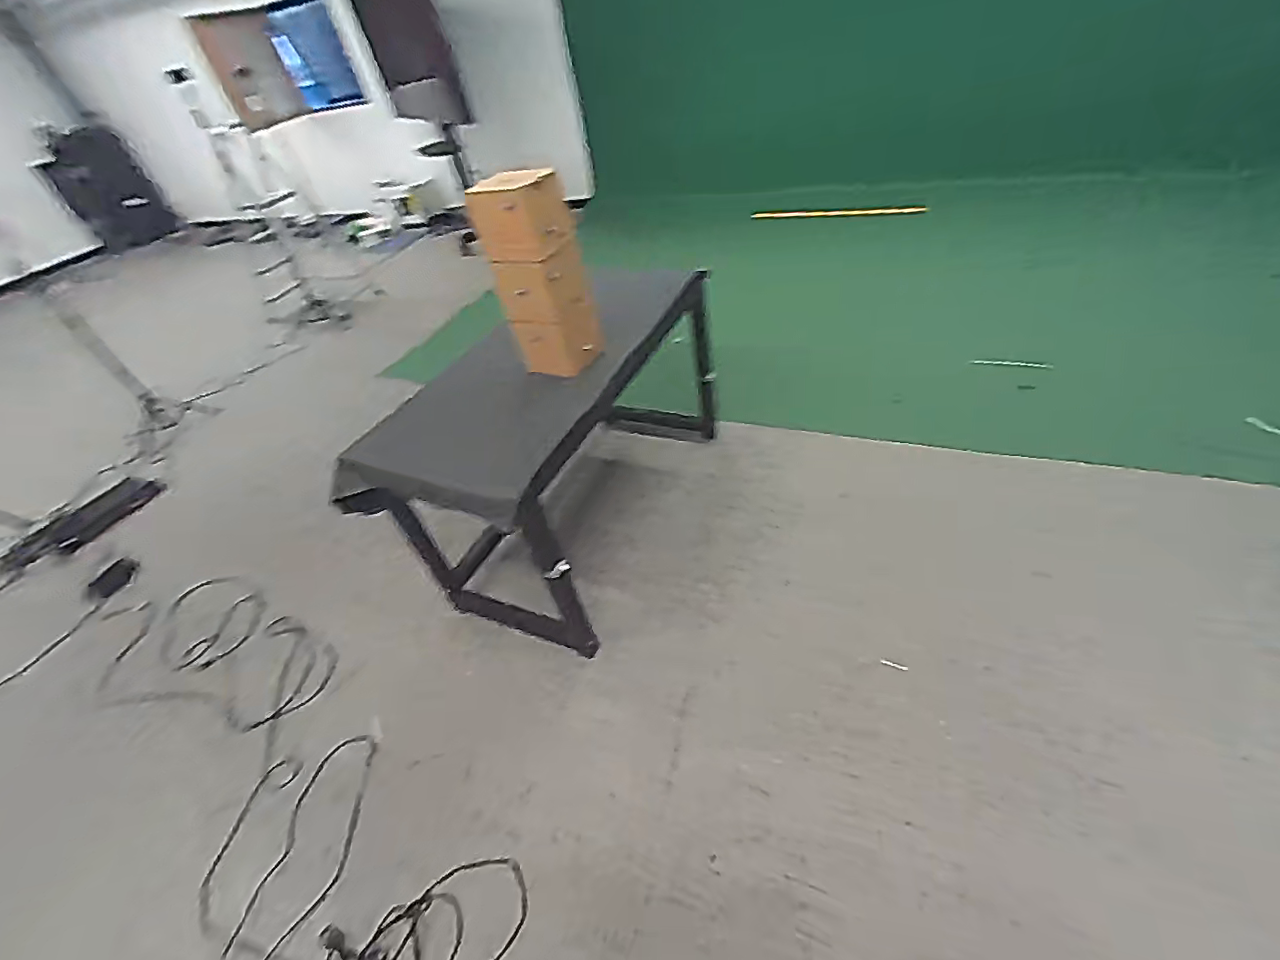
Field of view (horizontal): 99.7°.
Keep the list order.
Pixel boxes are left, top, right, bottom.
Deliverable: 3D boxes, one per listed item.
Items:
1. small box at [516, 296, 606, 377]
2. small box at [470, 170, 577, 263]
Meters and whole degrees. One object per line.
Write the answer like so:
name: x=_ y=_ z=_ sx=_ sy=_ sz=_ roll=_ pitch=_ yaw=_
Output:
small box: x=-0.223 y=-0.417 z=1.568 sx=0.179 sy=0.176 sz=0.168 roll=15 pitch=48 yaw=29
small box: x=-0.284 y=-0.657 z=1.355 sx=0.179 sy=0.176 sz=0.168 roll=11 pitch=46 yaw=26
